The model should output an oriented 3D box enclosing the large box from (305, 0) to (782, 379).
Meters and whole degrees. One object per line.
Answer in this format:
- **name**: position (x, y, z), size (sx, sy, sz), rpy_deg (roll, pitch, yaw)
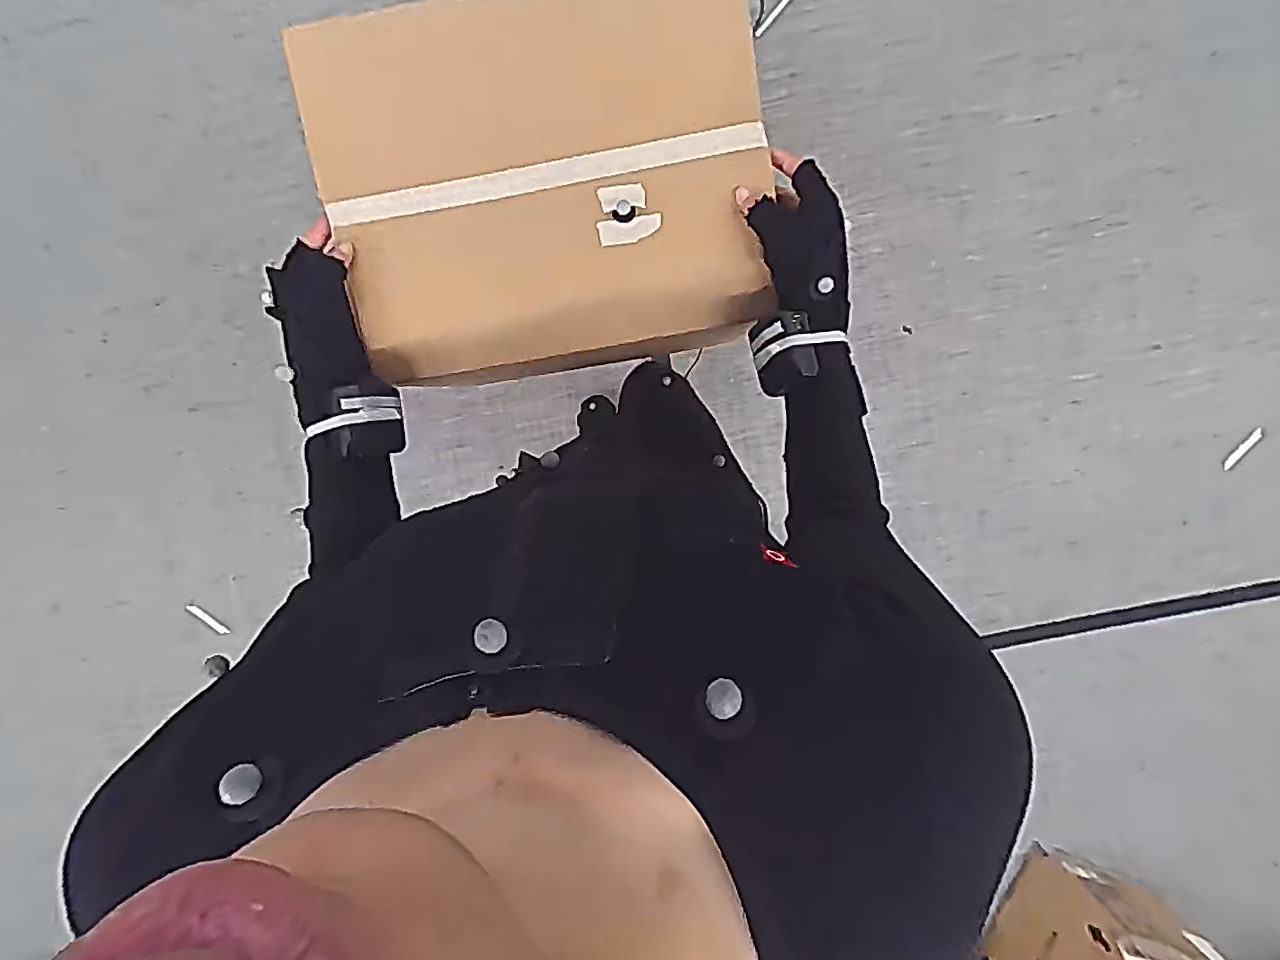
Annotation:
- **large box**: position (-0.084, -0.313, 0.649), size (0.408, 0.320, 0.320), rpy_deg (-9, 100, 1)
